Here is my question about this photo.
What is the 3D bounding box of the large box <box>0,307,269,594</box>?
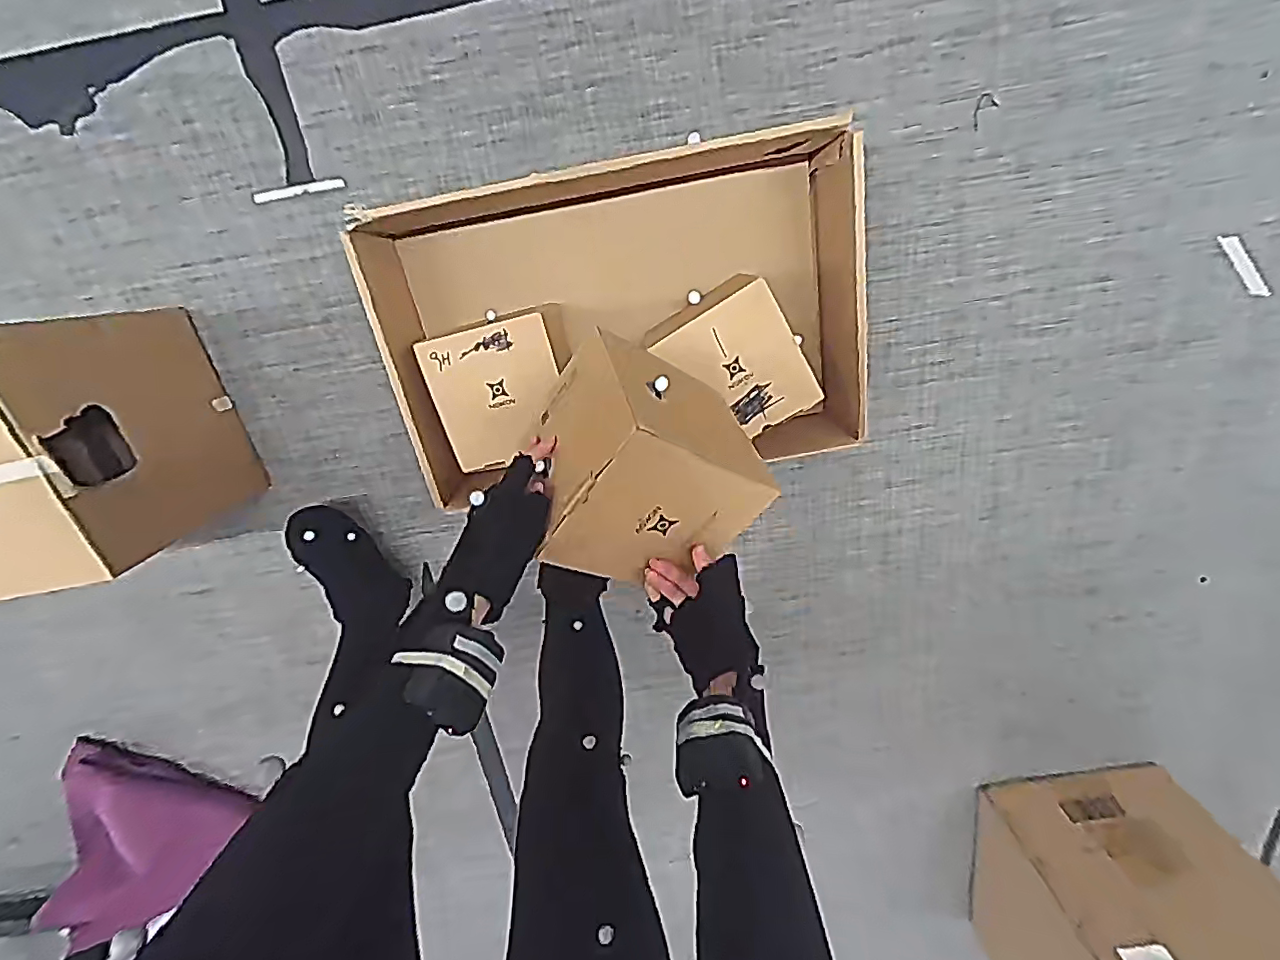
[{"bbox_3d":[-0.867,-0.043,0.770,0.408,0.320,0.320,-12,112,3],"label":"large box"}]

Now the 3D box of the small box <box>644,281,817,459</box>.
[{"bbox_3d":[0.119,-0.162,0.760,0.168,0.176,0.179,-30,108,11],"label":"small box"}]
